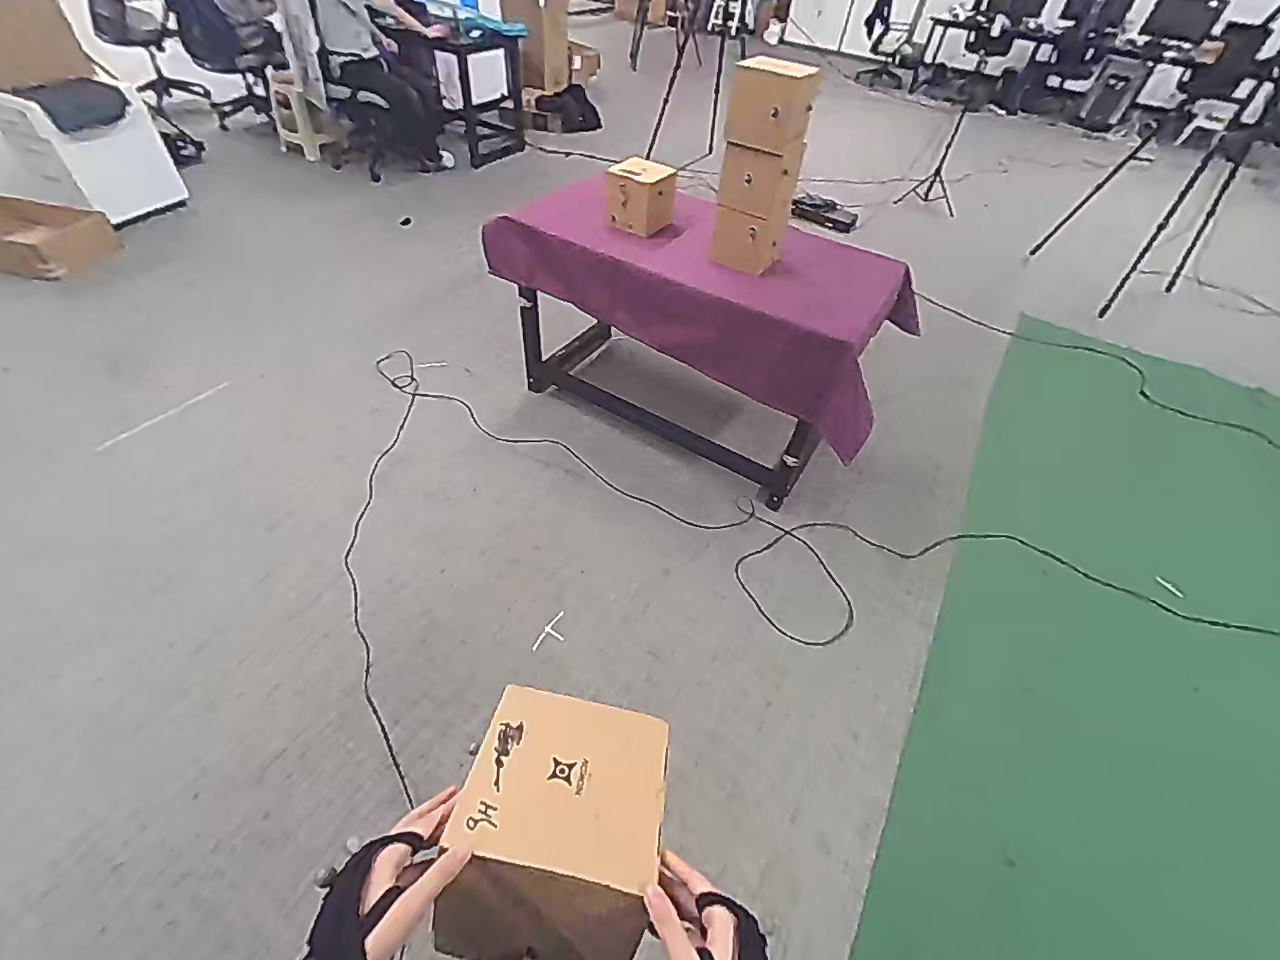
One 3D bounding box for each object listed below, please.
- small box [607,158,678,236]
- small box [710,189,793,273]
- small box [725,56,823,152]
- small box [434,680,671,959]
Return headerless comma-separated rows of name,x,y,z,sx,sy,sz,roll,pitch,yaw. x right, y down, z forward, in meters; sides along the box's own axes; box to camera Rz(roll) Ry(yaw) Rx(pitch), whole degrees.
small box,0.006,-0.927,1.774,0.168,0.176,0.179,28,50,18
small box,0.336,-0.754,1.649,0.179,0.176,0.168,29,51,19
small box,0.343,-0.973,1.404,0.179,0.176,0.168,28,50,19
small box,-0.079,0.332,0.523,0.179,0.176,0.168,14,25,1
